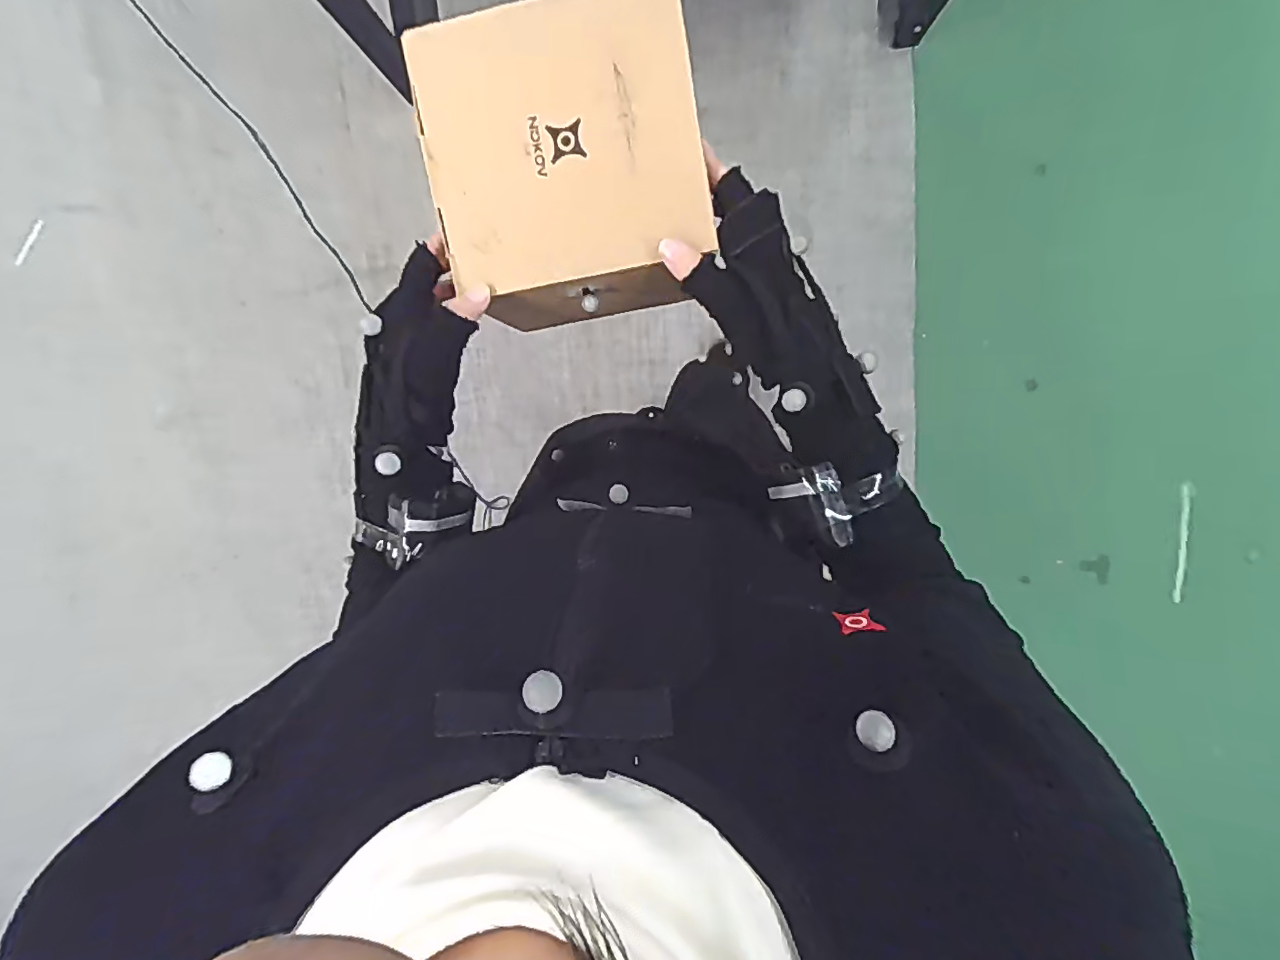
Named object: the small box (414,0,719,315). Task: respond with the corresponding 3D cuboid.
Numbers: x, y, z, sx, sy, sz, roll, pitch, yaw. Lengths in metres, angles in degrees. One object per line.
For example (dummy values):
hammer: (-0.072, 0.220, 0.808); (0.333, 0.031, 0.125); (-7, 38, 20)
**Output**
small box: (-0.042, -0.239, 0.428); (0.179, 0.176, 0.168); (-11, 98, 4)
